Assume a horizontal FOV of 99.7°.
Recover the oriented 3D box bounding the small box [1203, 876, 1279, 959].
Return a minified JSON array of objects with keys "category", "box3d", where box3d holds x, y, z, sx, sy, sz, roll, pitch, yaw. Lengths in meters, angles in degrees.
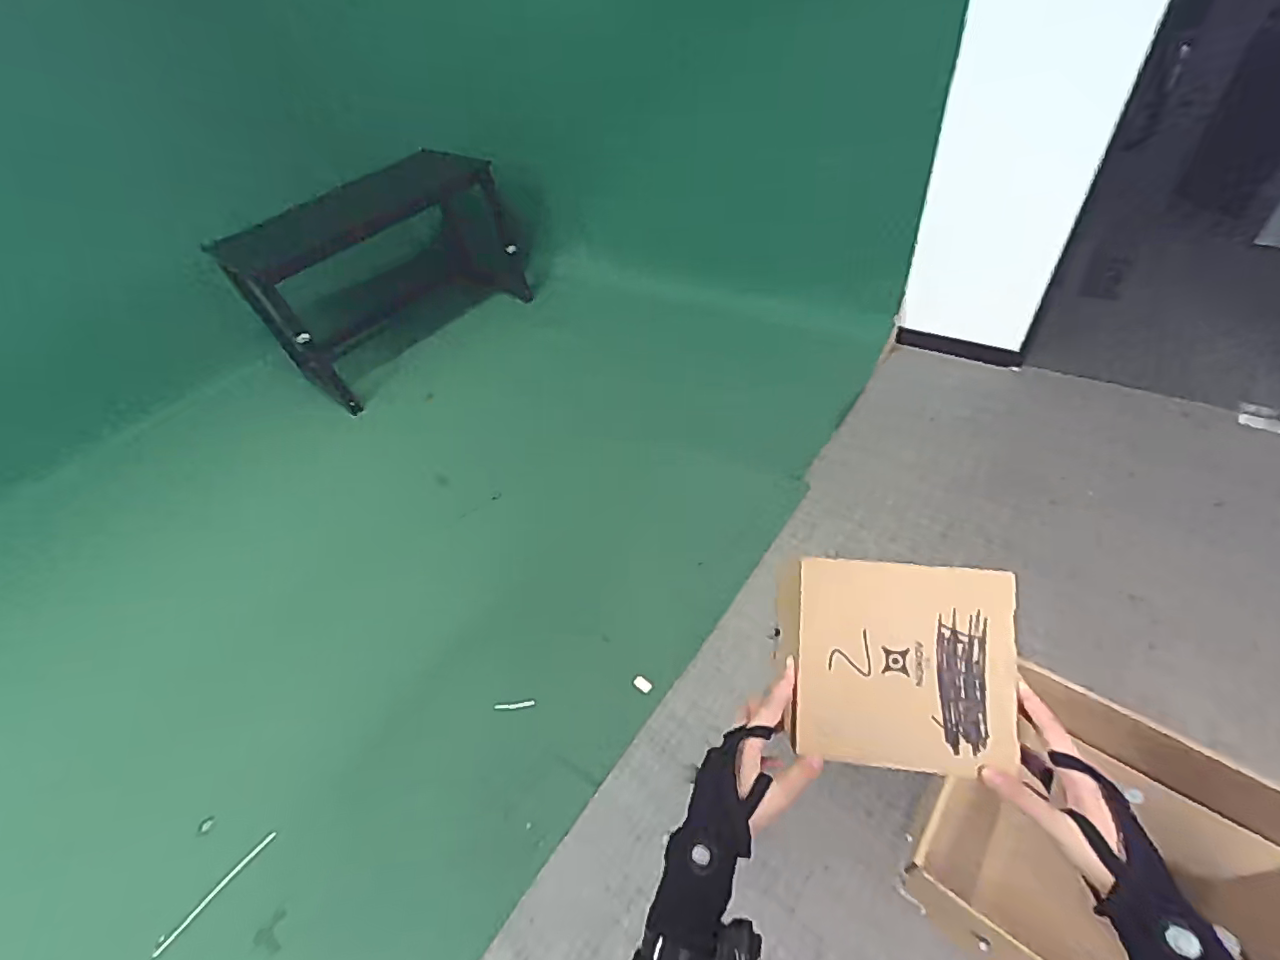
[{"category":"small box","box3d":[0.819,0.614,0.635,0.168,0.176,0.179,32,61,34]}]
